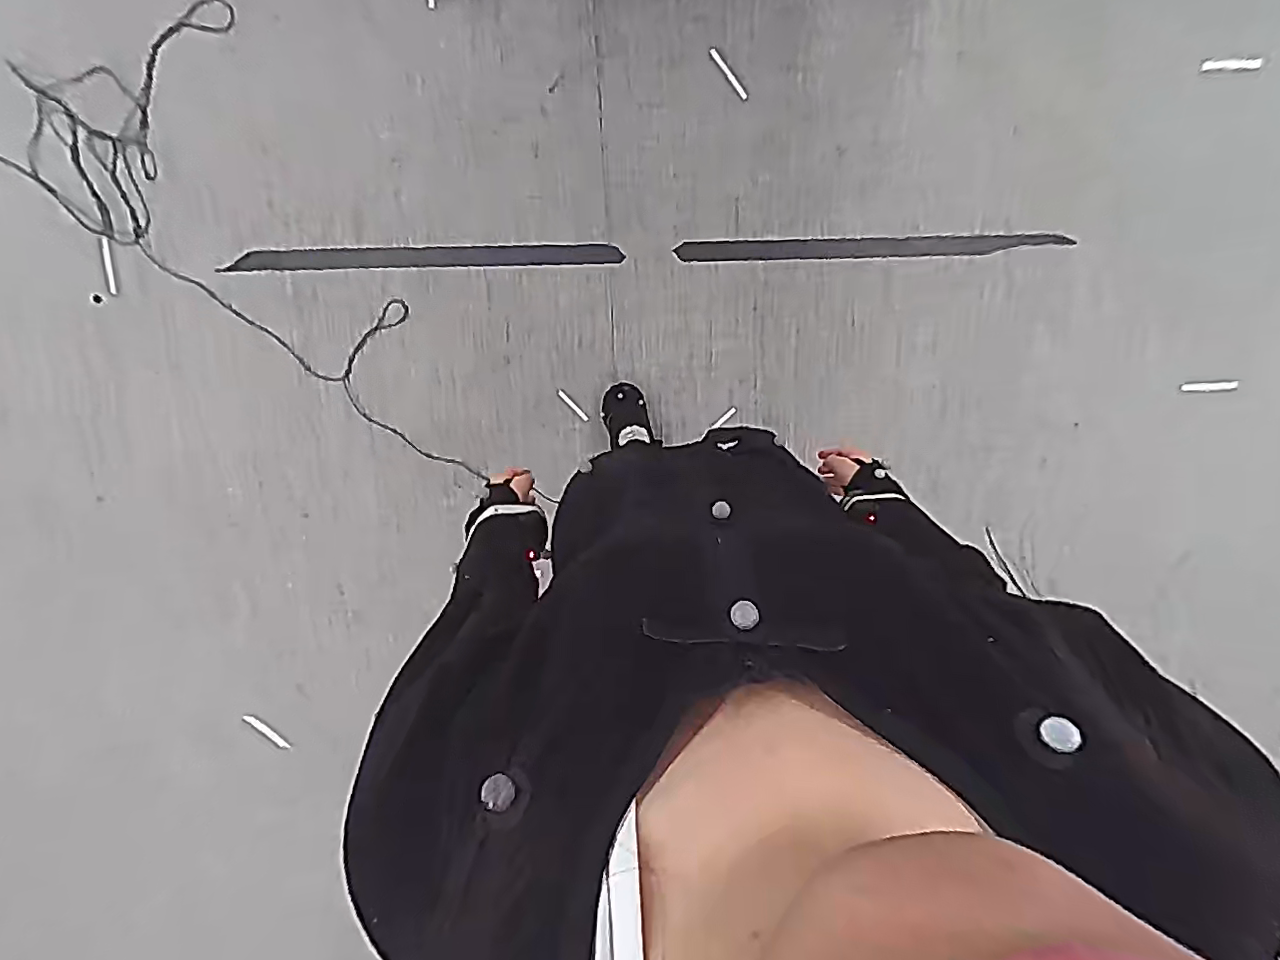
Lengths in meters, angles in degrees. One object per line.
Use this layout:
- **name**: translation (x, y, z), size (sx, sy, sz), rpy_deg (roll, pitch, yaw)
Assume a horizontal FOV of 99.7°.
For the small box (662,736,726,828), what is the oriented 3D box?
- **small box**: translation (0.149, 0.855, 1.545), size (0.168, 0.176, 0.179), rpy_deg (0, 100, 0)
